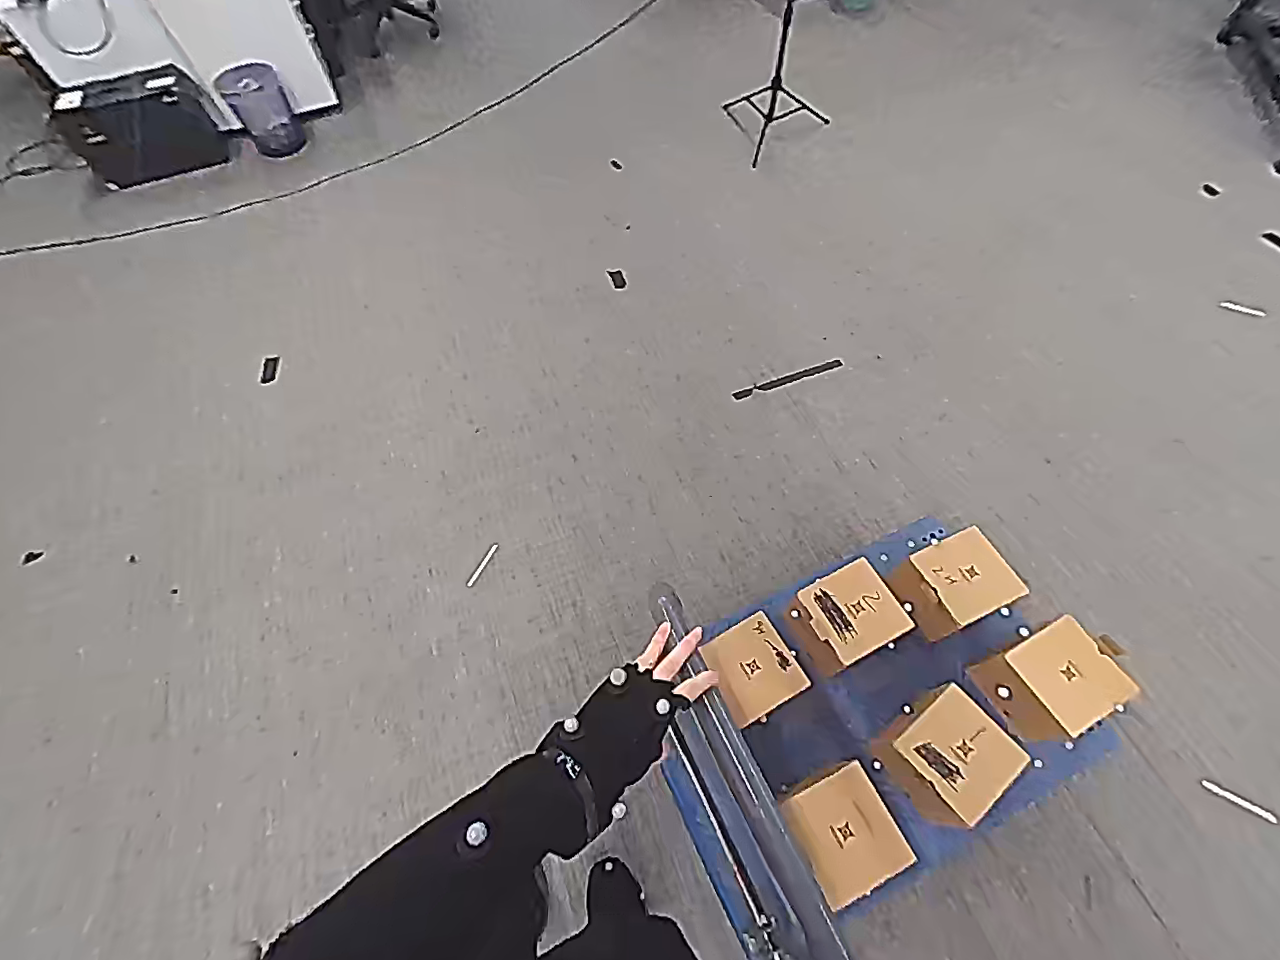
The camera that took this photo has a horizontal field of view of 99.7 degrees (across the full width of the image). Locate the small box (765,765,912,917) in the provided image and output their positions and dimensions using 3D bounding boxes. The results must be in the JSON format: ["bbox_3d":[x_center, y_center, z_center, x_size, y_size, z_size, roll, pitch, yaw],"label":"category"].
[{"bbox_3d":[0.343,0.643,0.980,0.179,0.176,0.168,-22,62,-11],"label":"small box"}]

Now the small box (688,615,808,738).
[{"bbox_3d":[0.212,0.411,1.114,0.179,0.176,0.168,-26,64,-12],"label":"small box"}]

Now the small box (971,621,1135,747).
[{"bbox_3d":[0.810,0.416,1.089,0.179,0.176,0.168,-26,62,-12],"label":"small box"}]

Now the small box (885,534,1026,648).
[{"bbox_3d":[0.678,0.247,1.187,0.179,0.176,0.168,-22,61,-9],"label":"small box"}]

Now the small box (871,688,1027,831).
[{"bbox_3d":[0.571,0.533,1.032,0.179,0.176,0.168,-34,65,-16],"label":"small box"}]
